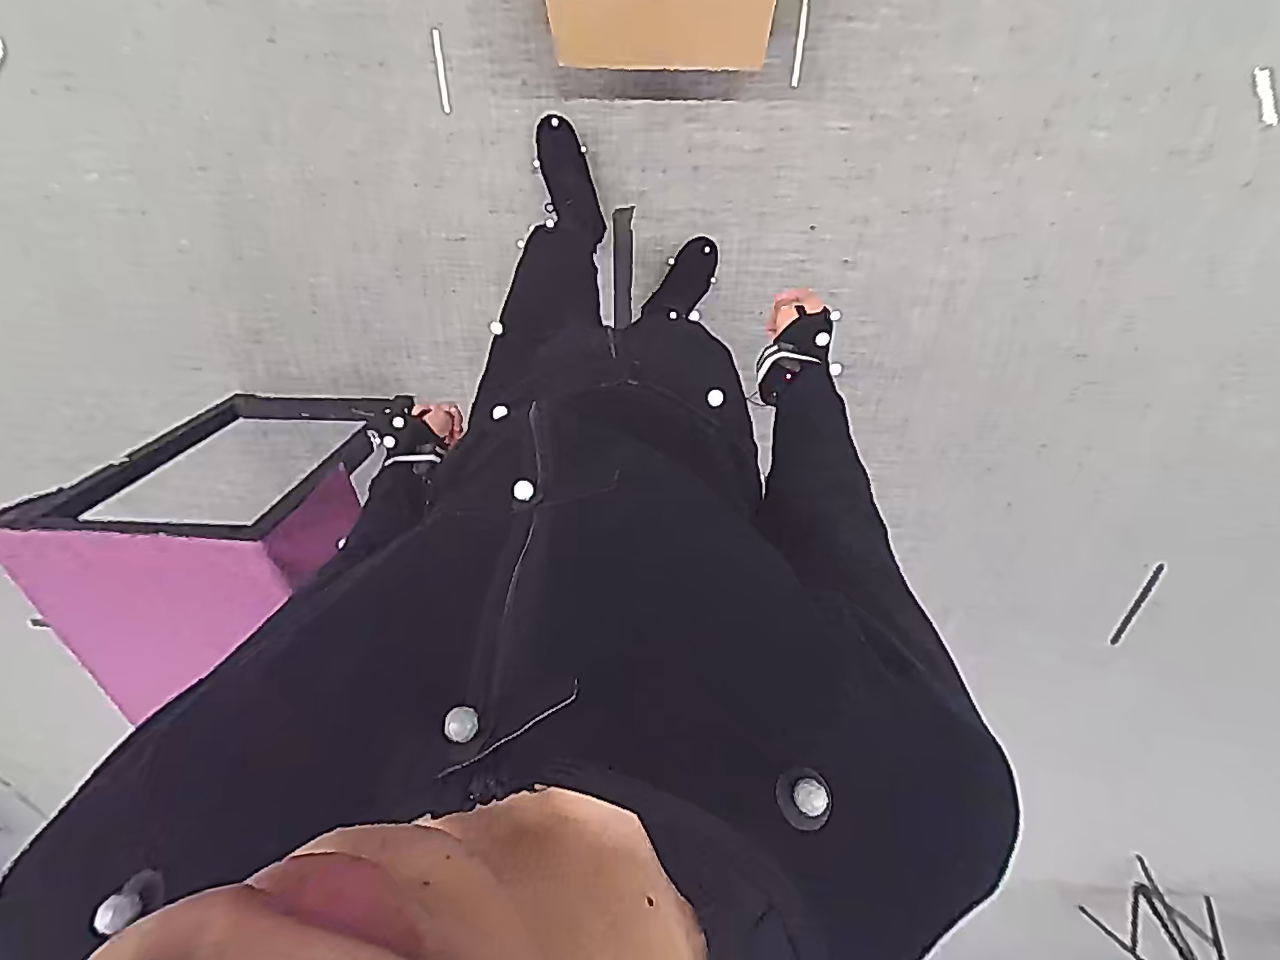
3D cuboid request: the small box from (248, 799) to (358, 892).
[{"bbox_3d":[-0.940,1.026,1.526,0.179,0.176,0.168,-2,122,5],"label":"small box"}]
